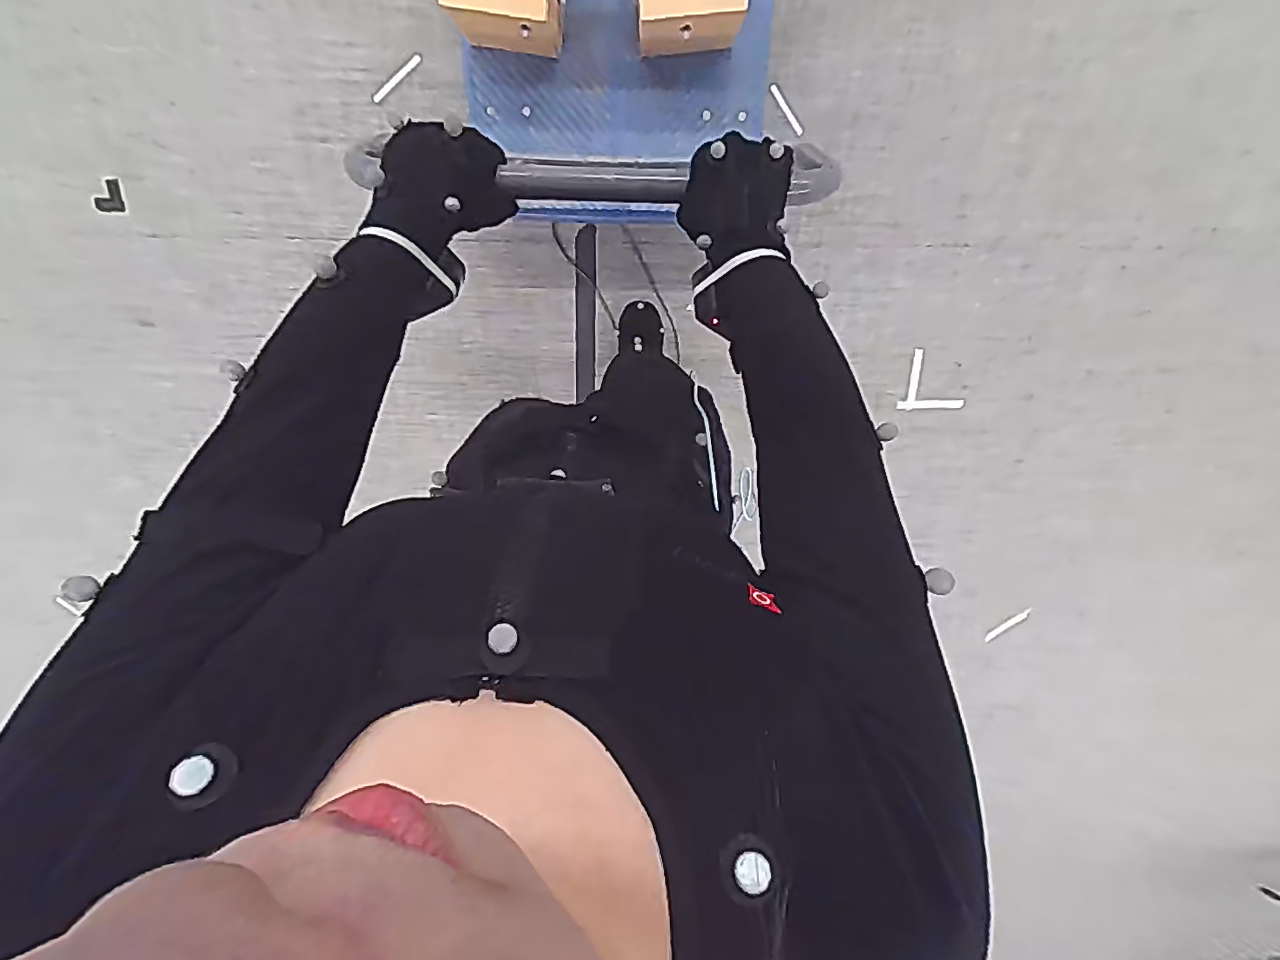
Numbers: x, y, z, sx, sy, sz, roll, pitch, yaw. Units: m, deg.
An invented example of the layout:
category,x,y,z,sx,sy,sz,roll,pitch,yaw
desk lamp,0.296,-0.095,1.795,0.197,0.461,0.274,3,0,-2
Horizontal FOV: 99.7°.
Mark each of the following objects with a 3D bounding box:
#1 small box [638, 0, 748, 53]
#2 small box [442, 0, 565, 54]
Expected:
category,x,y,z,sx,sy,sz,roll,pitch,yaw
small box,0.083,-0.852,0.913,0.179,0.176,0.168,-4,112,2
small box,-0.224,-0.856,0.914,0.179,0.176,0.168,6,112,-4
